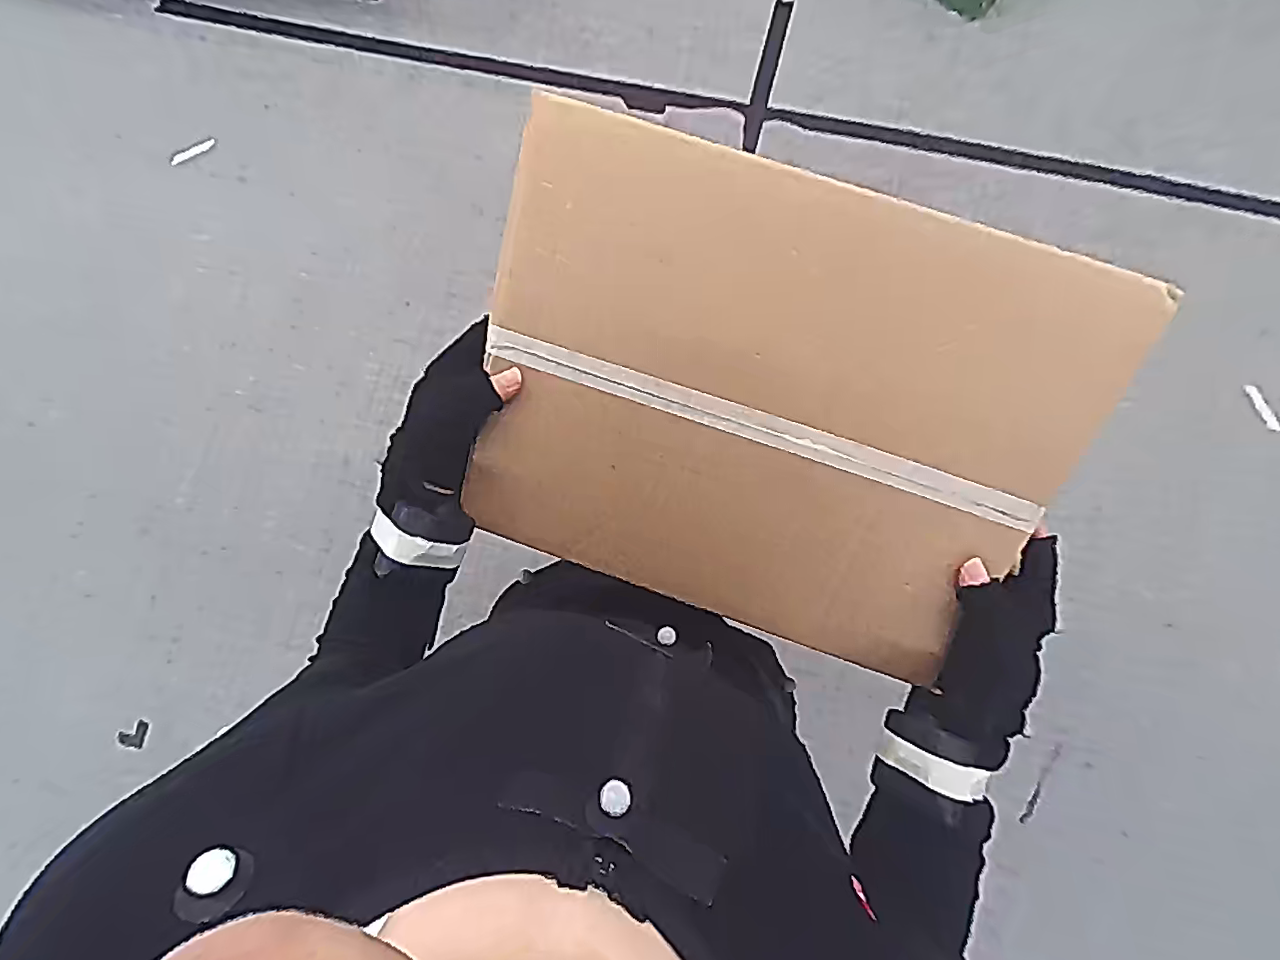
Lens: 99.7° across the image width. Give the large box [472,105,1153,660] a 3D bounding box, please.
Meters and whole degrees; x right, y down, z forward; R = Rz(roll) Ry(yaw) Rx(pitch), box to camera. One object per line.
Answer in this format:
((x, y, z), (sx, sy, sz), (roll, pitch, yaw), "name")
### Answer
((0.107, -0.098, 0.530), (0.408, 0.320, 0.320), (19, 113, 3), "large box")
